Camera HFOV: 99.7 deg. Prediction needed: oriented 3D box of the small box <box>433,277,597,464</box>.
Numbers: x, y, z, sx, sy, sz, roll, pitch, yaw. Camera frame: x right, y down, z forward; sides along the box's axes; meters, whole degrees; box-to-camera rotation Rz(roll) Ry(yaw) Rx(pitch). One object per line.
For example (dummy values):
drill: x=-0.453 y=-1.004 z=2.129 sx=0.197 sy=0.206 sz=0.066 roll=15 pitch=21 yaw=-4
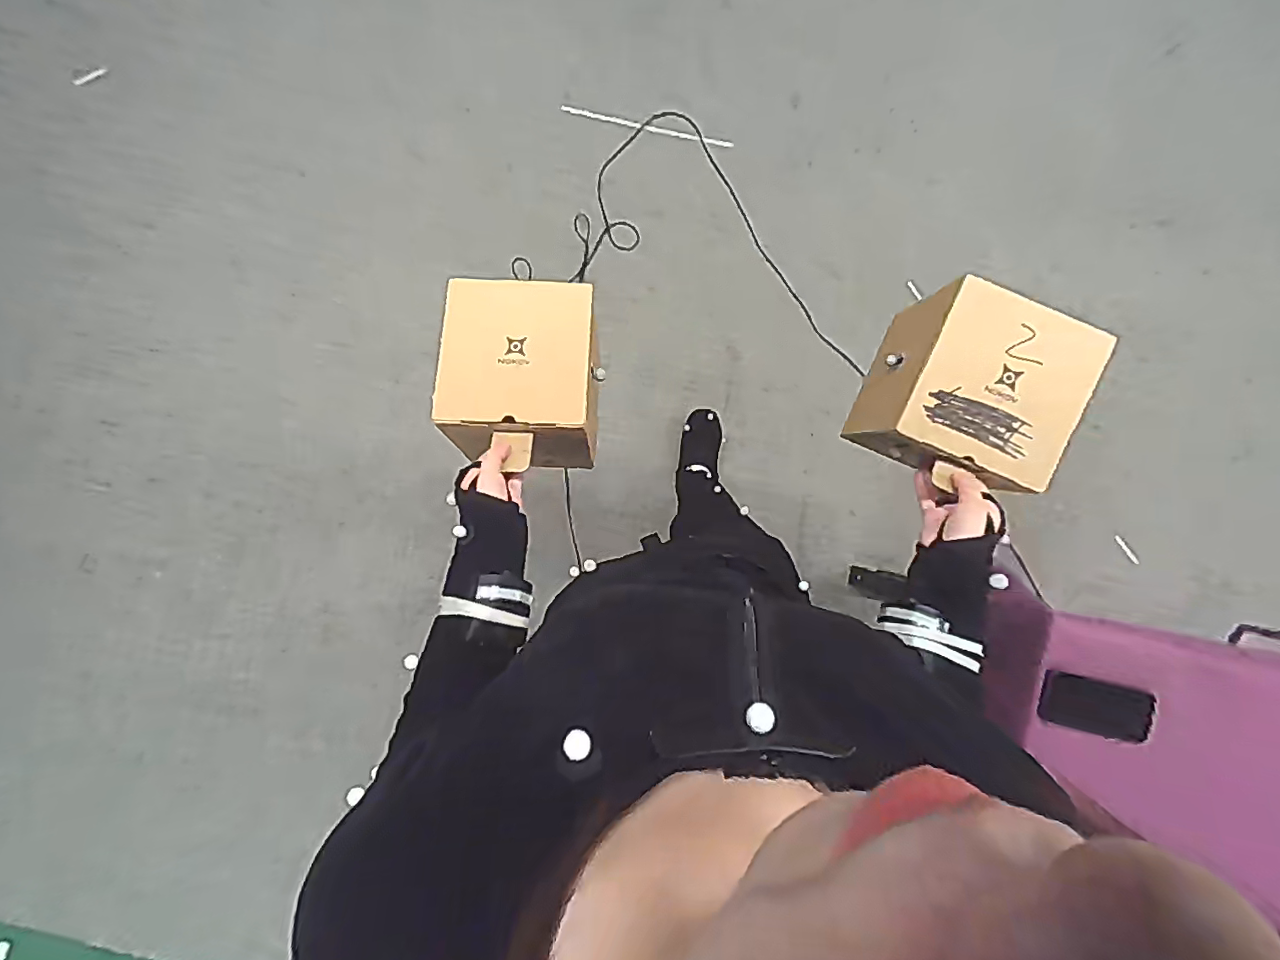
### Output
small box: x=-0.142 y=-0.128 z=0.680 sx=0.168 sy=0.176 sz=0.179 roll=2 pitch=77 yaw=-1
